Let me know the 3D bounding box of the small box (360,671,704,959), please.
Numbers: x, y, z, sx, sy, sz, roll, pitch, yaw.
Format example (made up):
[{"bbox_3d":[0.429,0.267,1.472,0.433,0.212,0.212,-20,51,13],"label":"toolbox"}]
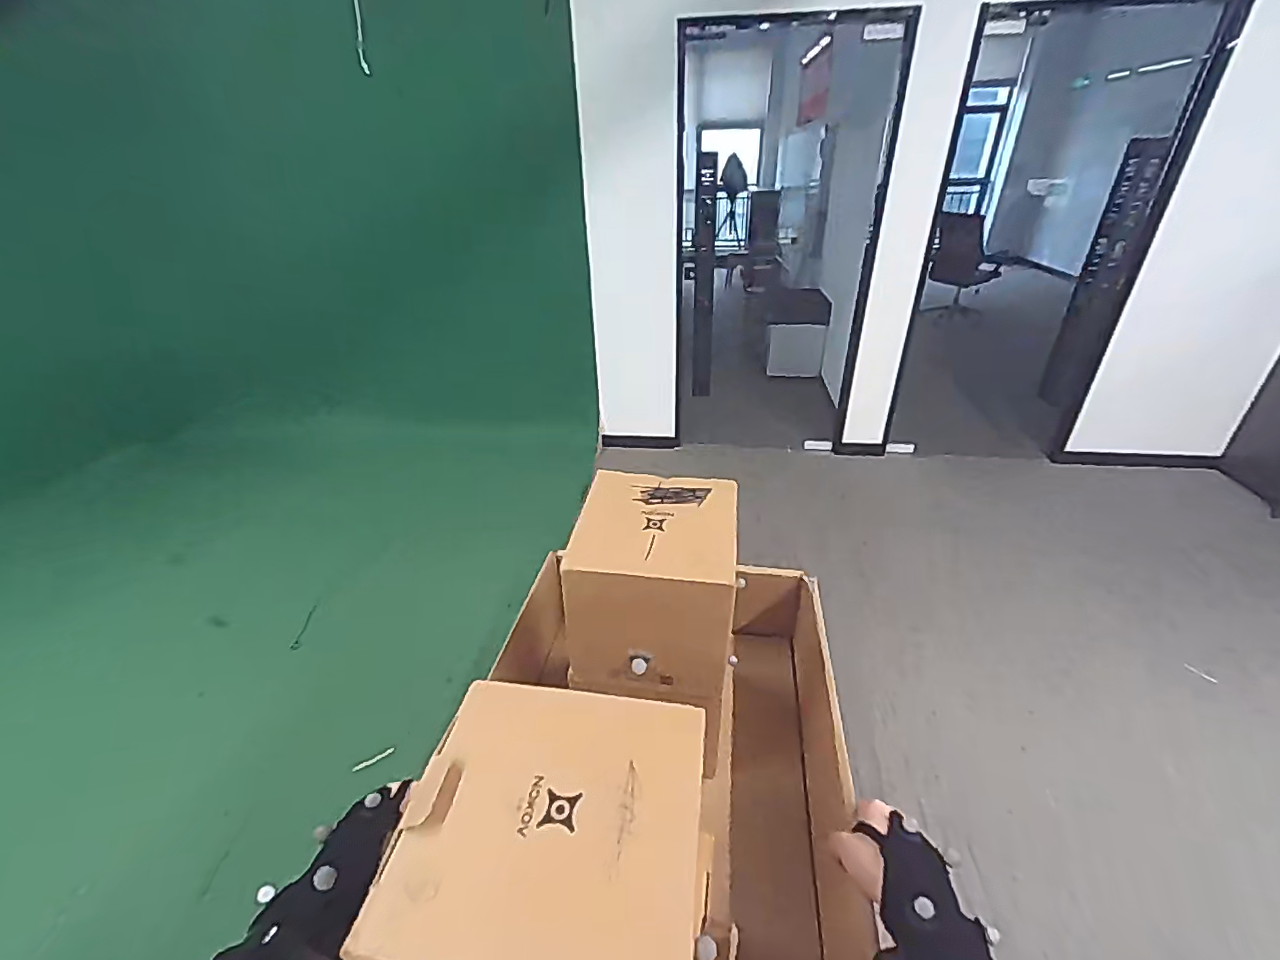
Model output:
[{"bbox_3d":[-0.051,0.263,0.379,0.179,0.176,0.168,5,33,6],"label":"small box"}]

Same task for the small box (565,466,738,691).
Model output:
[{"bbox_3d":[0.020,0.106,0.616,0.168,0.176,0.179,5,34,8],"label":"small box"}]
